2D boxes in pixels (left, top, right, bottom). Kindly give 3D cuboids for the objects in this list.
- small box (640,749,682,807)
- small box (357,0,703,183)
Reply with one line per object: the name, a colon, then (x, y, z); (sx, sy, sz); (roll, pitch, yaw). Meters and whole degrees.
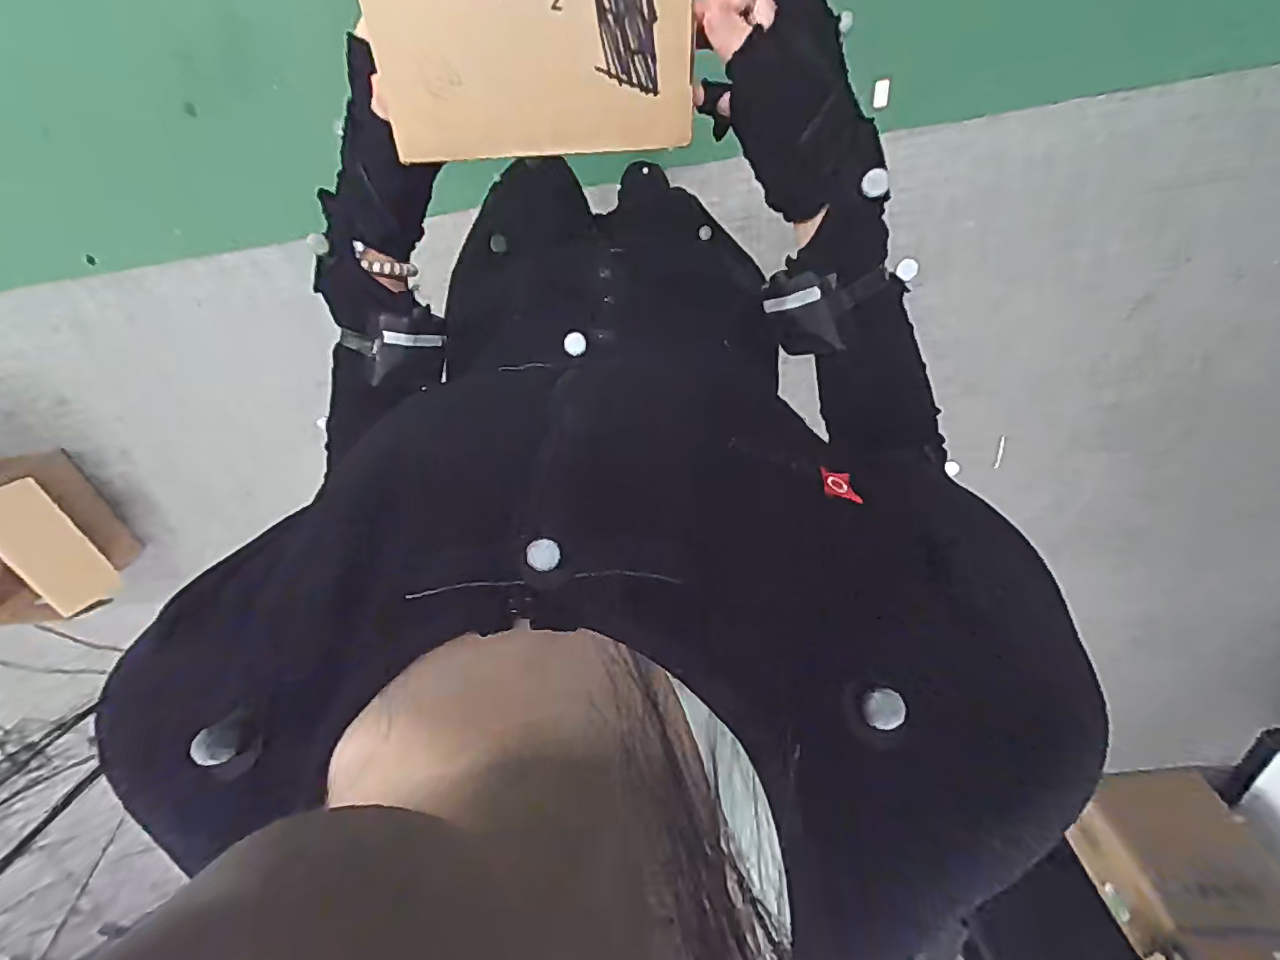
small box: (0.095, 1.356, 2.459); (0.168, 0.176, 0.179); (-9, 123, 5)
small box: (-0.069, -0.293, 0.329); (0.179, 0.176, 0.168); (-9, 129, -9)
